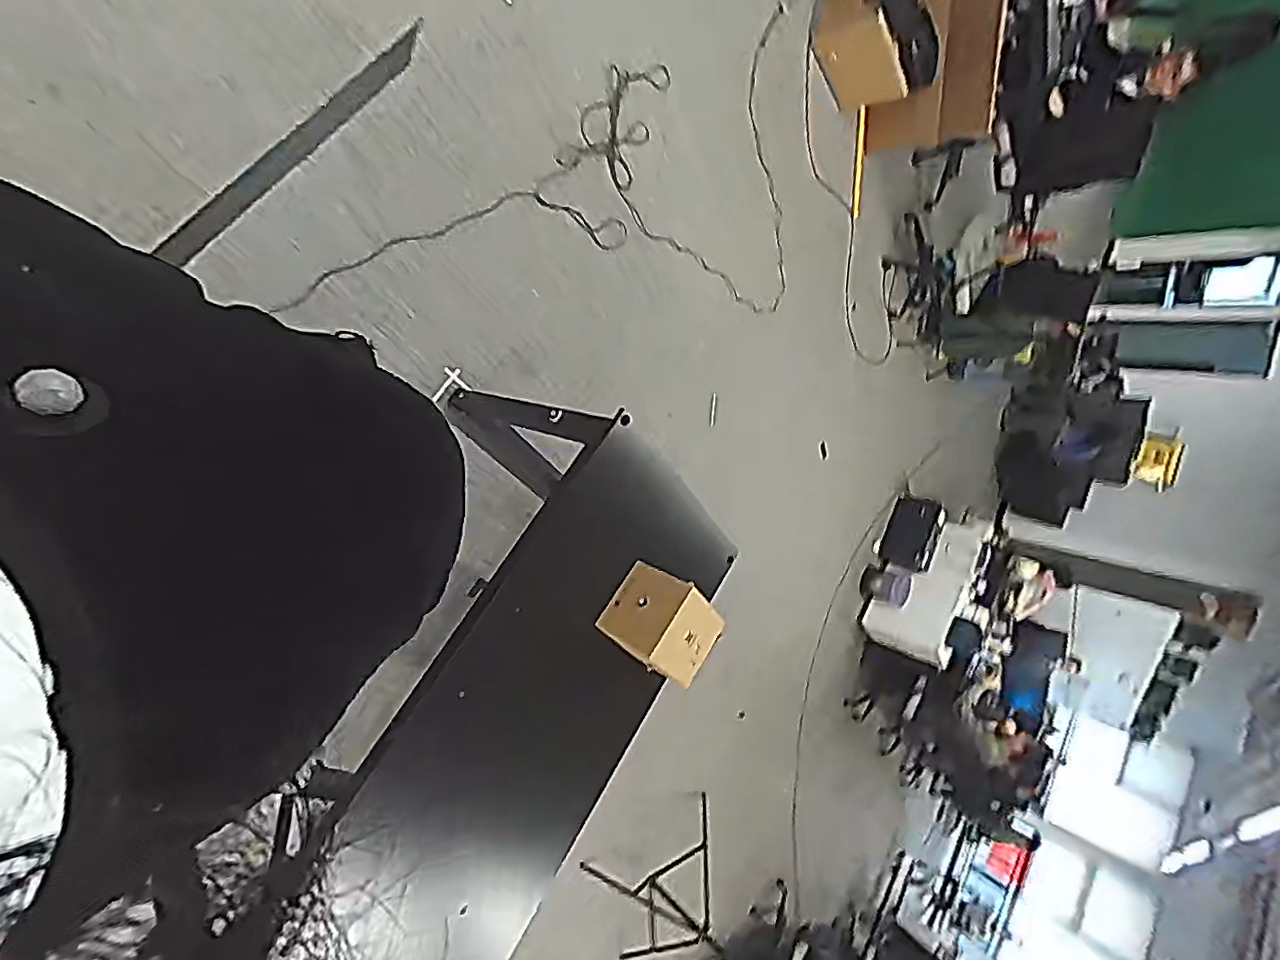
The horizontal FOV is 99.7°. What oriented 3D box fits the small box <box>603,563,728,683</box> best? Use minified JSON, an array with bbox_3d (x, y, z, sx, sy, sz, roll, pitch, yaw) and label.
[{"bbox_3d":[0.053,0.297,1.158,0.168,0.176,0.179,-55,133,-18],"label":"small box"}]
